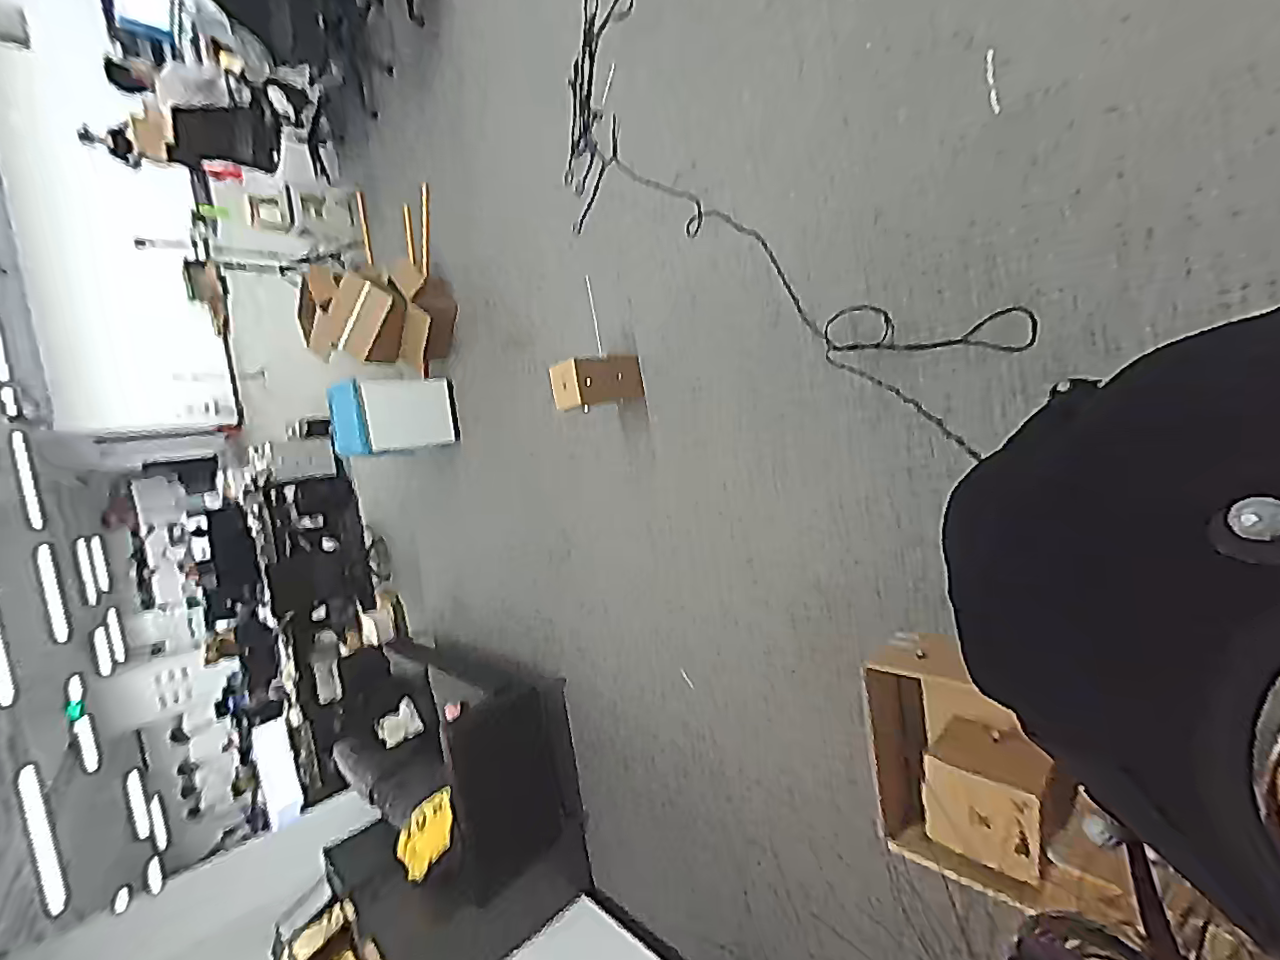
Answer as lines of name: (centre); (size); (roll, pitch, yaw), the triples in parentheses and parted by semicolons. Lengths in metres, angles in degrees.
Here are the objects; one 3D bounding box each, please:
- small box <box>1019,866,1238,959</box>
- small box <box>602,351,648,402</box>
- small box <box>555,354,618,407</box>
small box: (0.551, 0.595, 0.604); (0.168, 0.176, 0.179); (-5, 94, 49)
small box: (-0.085, -0.424, 2.213); (0.168, 0.176, 0.179); (-7, 94, 48)
small box: (-0.204, -0.387, 2.105); (0.168, 0.176, 0.179); (-6, 94, 48)
